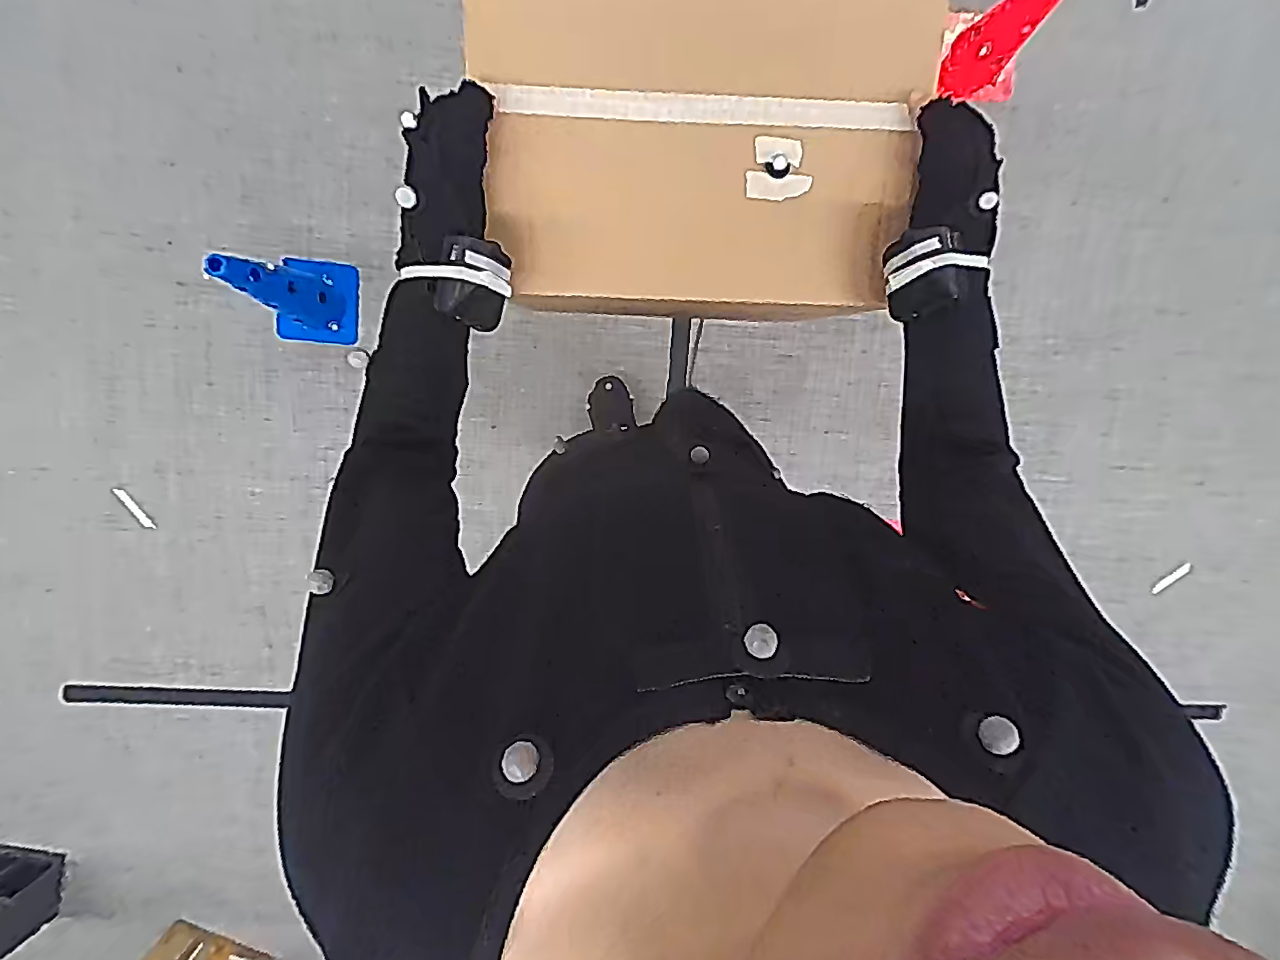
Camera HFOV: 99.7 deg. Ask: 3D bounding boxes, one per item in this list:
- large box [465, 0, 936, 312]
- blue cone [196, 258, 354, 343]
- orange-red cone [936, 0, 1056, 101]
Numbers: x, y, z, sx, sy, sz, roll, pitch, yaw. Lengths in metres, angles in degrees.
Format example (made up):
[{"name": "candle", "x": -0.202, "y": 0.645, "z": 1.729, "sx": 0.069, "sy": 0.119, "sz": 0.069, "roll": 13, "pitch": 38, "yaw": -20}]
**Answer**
[{"name": "large box", "x": 0.043, "y": -0.364, "z": 0.615, "sx": 0.408, "sy": 0.320, "sz": 0.320, "roll": 1, "pitch": 105, "yaw": -3}, {"name": "blue cone", "x": -0.820, "y": -0.427, "z": 1.209, "sx": 0.192, "sy": 0.380, "sz": 0.193, "roll": 6, "pitch": 97, "yaw": -2}, {"name": "orange-red cone", "x": 0.857, "y": -1.051, "z": 1.195, "sx": 0.198, "sy": 0.360, "sz": 0.199, "roll": 1, "pitch": 96, "yaw": -4}]
